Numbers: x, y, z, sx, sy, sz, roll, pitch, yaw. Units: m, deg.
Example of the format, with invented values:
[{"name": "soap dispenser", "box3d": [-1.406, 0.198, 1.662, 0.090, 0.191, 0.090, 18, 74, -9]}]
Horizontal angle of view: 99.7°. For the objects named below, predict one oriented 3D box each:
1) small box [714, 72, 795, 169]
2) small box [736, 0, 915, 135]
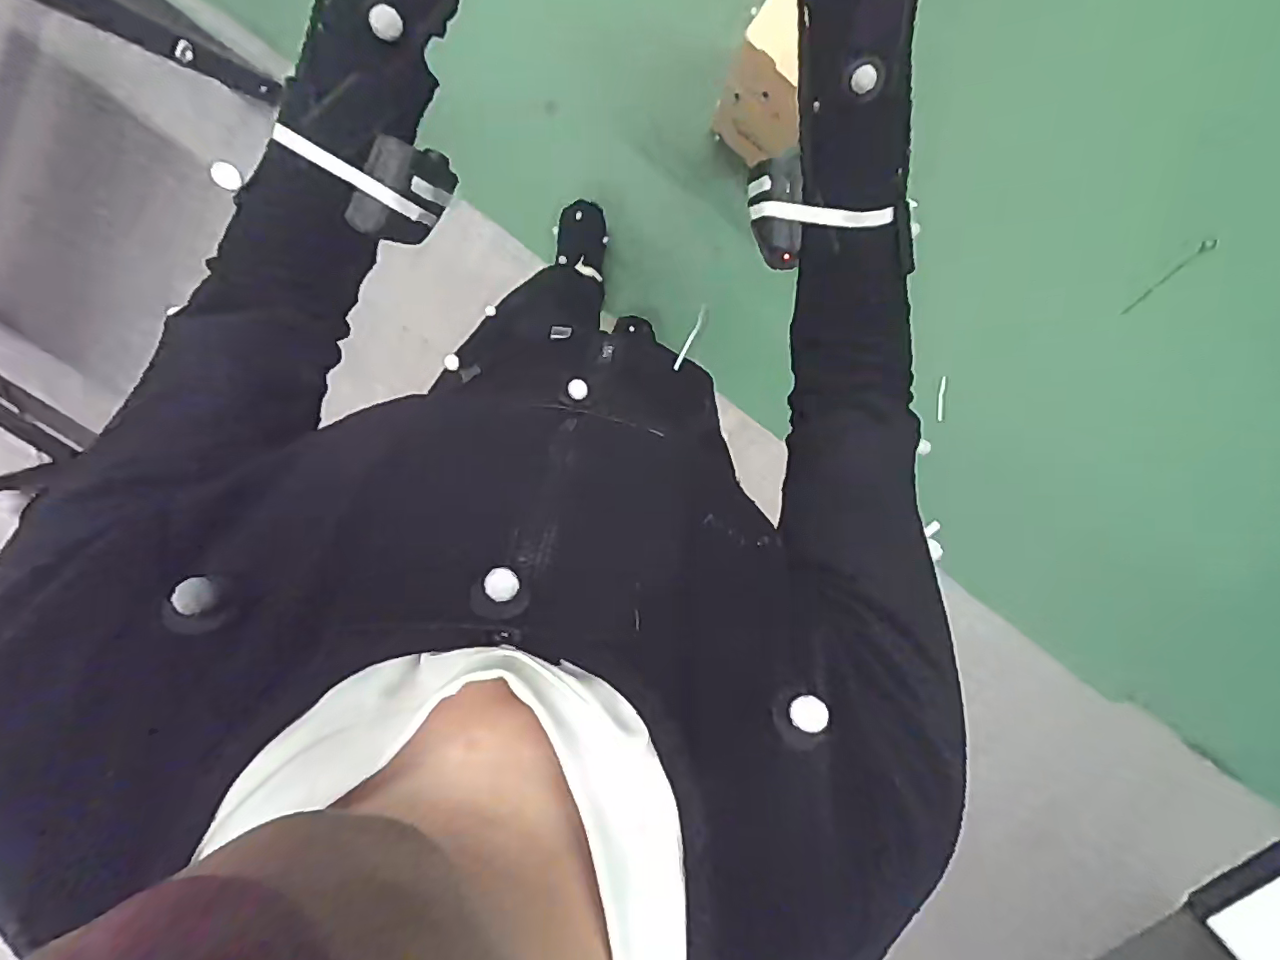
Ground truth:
[{"name": "small box", "box3d": [0.270, -0.790, 1.131, 0.168, 0.176, 0.179, 38, 107, -12]}, {"name": "small box", "box3d": [0.266, -0.674, 0.824, 0.168, 0.176, 0.179, 36, 107, -11]}]
